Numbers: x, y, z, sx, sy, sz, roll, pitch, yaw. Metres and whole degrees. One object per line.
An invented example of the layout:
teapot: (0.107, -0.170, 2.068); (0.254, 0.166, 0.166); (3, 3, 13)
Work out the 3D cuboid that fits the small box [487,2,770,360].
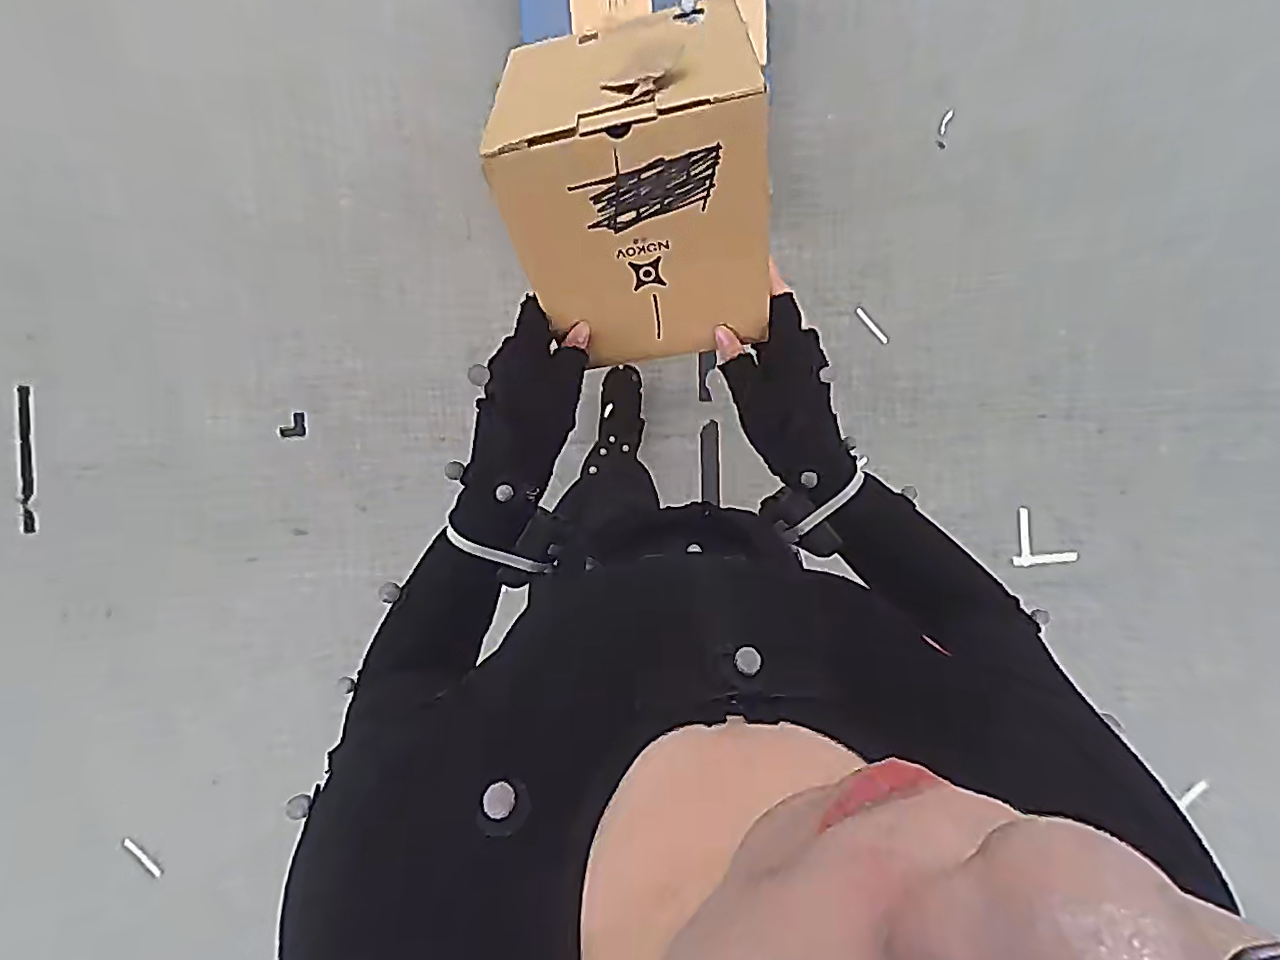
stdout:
small box: (0.002, -0.223, 0.412); (0.168, 0.179, 0.176); (-7, 55, 9)
